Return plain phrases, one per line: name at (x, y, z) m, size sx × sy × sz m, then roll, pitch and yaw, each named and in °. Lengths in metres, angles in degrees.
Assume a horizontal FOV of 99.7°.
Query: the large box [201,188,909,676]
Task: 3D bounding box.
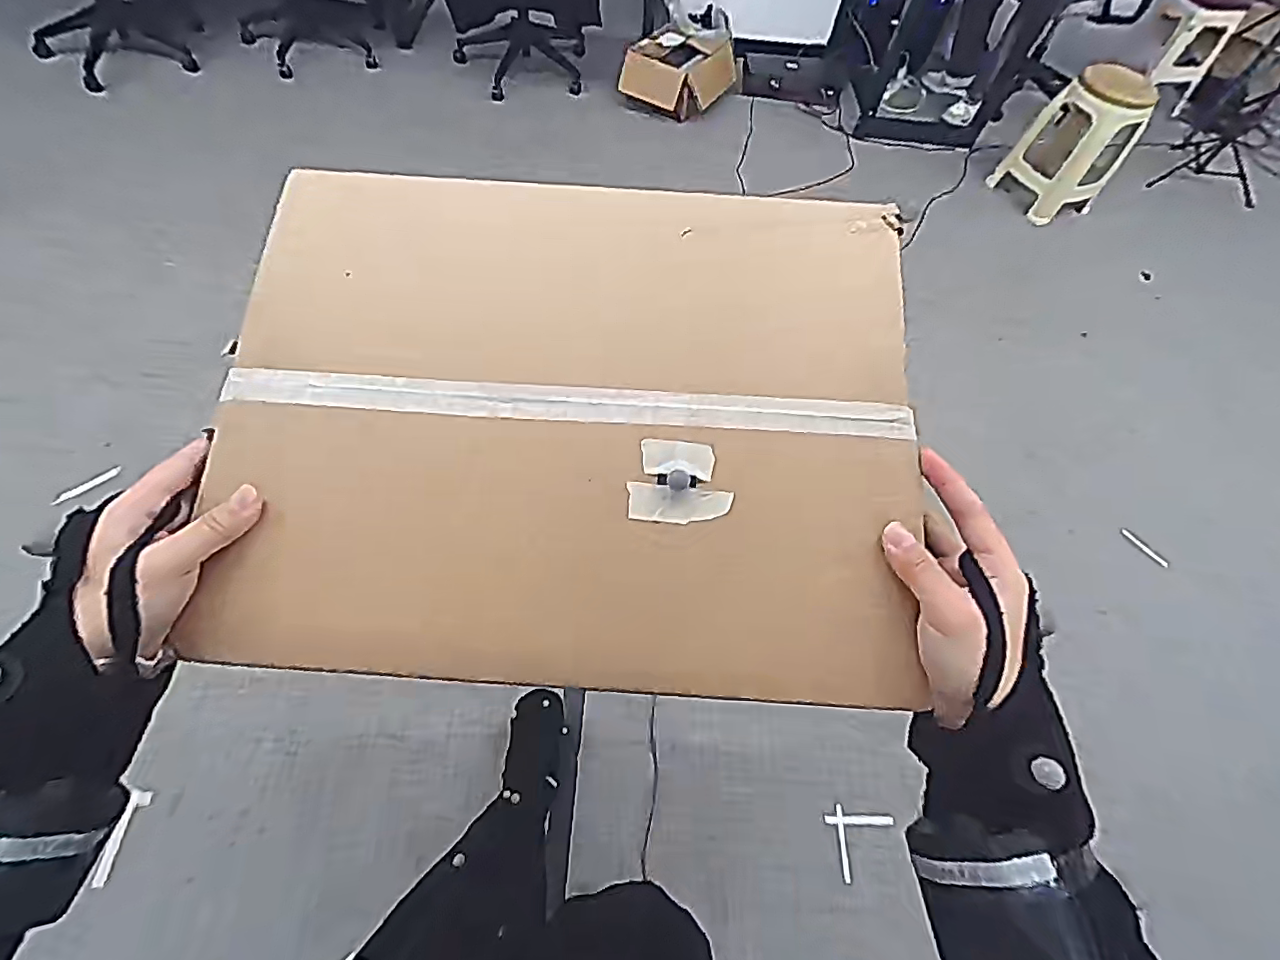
large box at (-0.043, -0.010, 0.482) m, size 0.408 × 0.320 × 0.320 m, roll 4°, pitch 76°, yaw 0°
